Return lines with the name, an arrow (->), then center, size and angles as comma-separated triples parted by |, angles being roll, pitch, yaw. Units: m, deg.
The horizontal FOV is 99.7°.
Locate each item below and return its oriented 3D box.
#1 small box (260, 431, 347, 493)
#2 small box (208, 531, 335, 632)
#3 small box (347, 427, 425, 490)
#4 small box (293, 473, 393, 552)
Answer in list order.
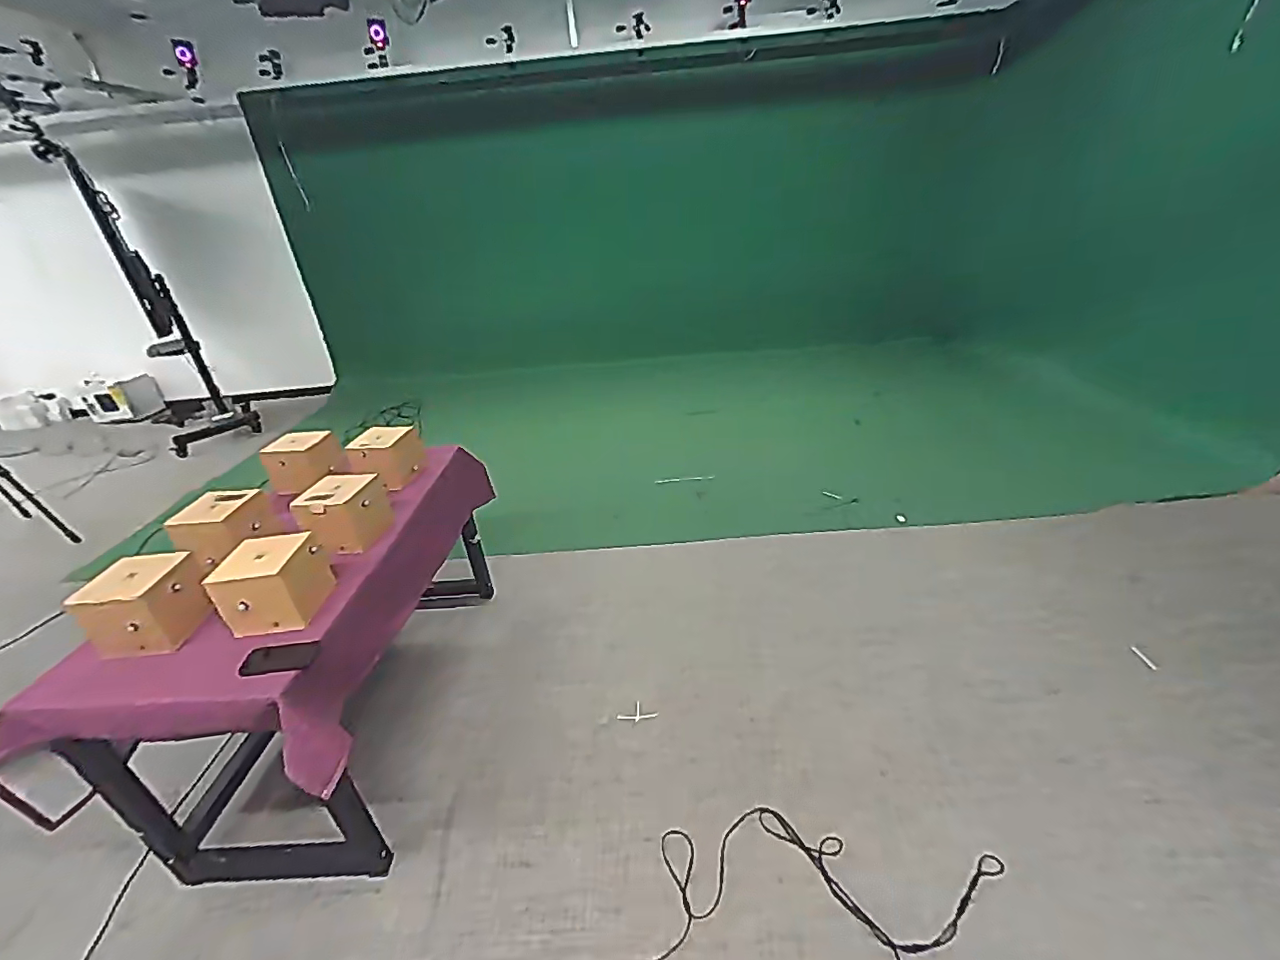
small box -> -1.193, -0.063, 1.929 | 0.179, 0.176, 0.168 | -2, 29, 6
small box -> -0.869, 0.248, 1.298 | 0.168, 0.176, 0.179 | -7, 27, -2
small box -> -0.881, -0.078, 1.898 | 0.168, 0.176, 0.179 | -1, 28, 9
small box -> -0.851, 0.096, 1.572 | 0.168, 0.176, 0.179 | -1, 28, 8
